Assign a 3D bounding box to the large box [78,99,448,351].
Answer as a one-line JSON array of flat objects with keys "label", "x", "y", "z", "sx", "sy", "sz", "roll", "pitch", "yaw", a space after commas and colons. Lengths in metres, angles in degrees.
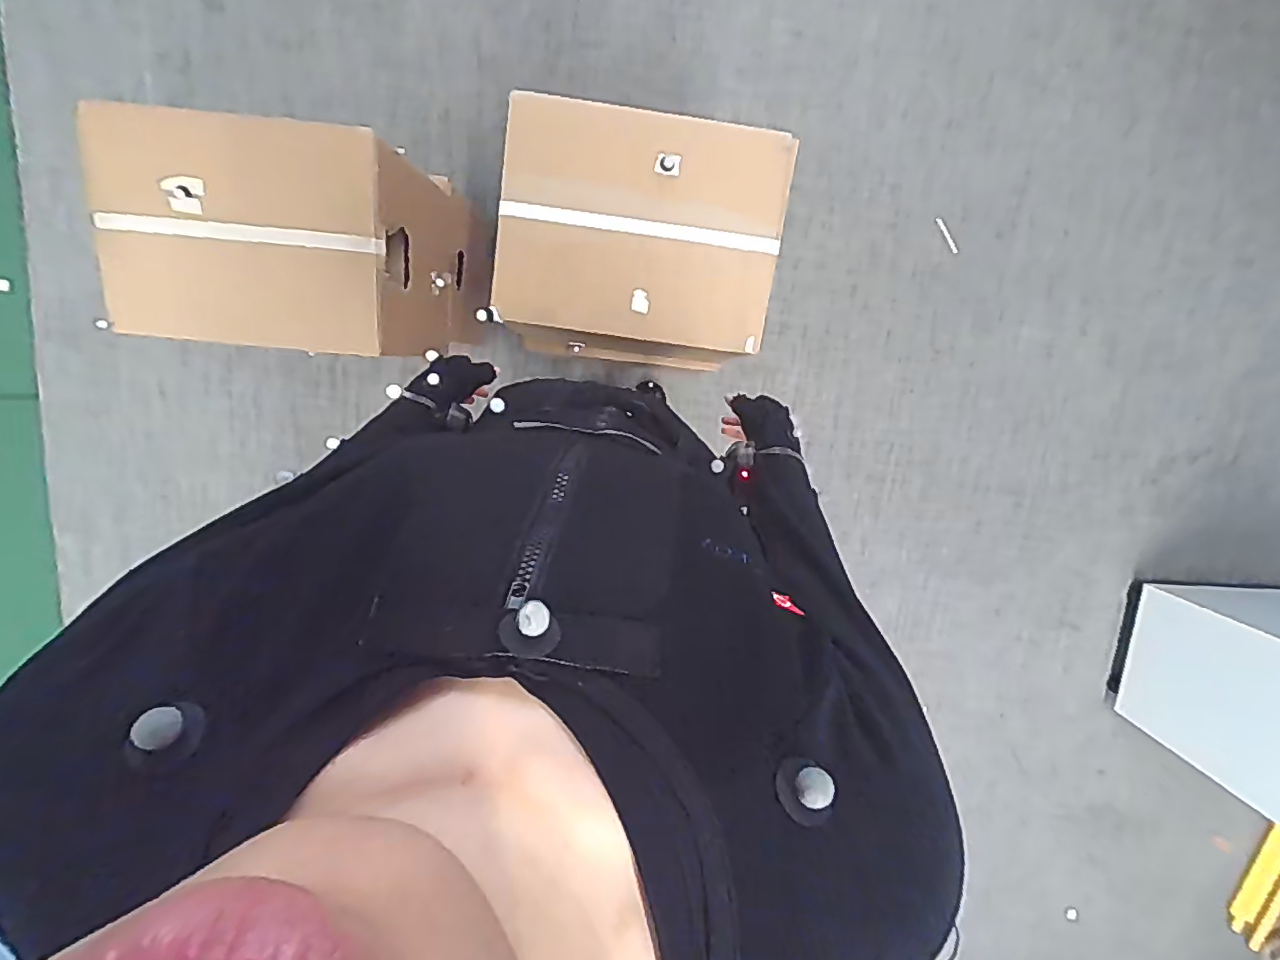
[{"label": "large box", "x": -0.578, "y": -0.396, "z": 0.918, "sx": 0.408, "sy": 0.320, "sz": 0.320, "roll": 5, "pitch": 104, "yaw": -1}]
